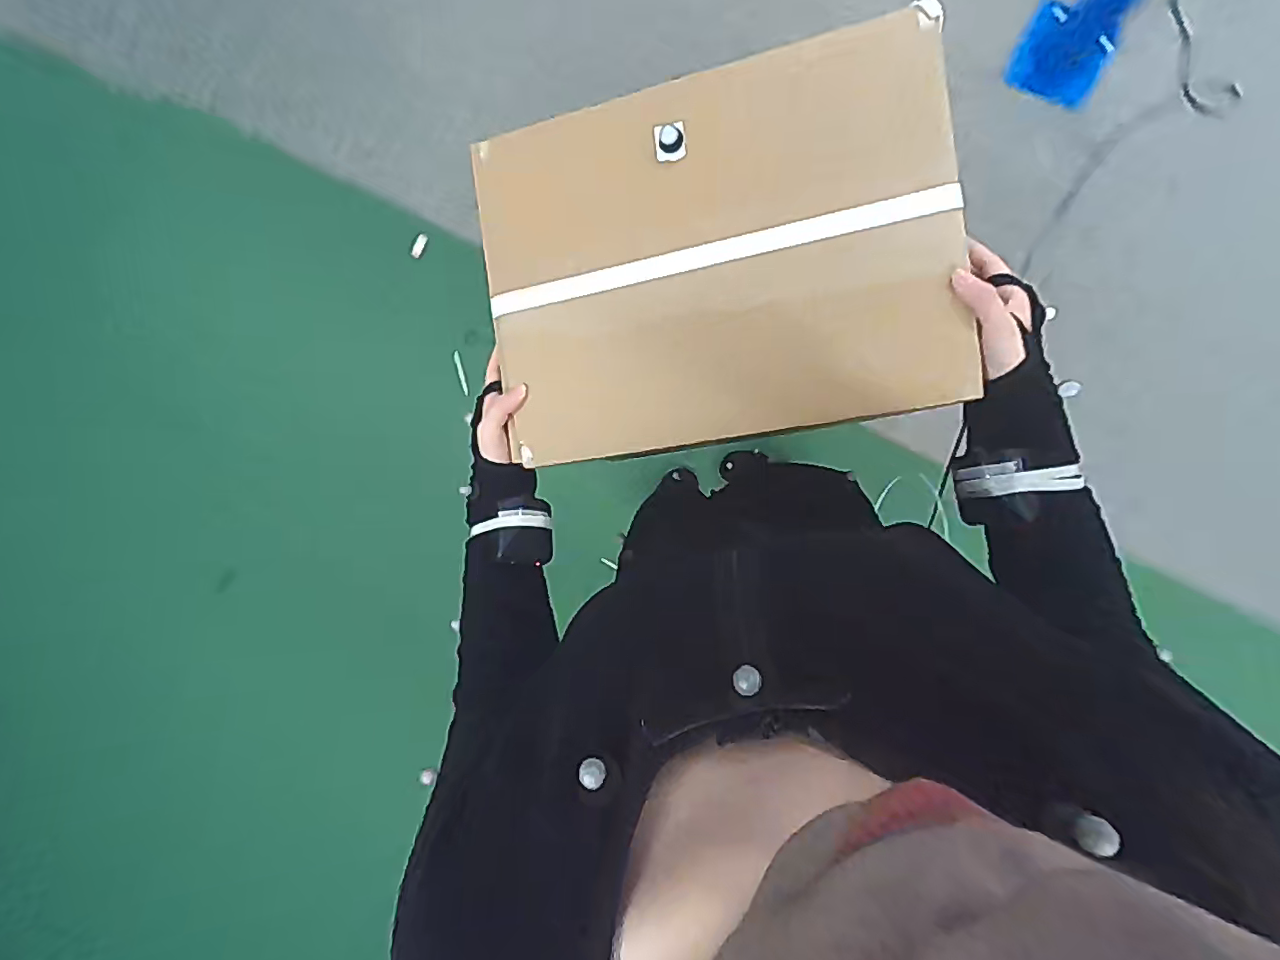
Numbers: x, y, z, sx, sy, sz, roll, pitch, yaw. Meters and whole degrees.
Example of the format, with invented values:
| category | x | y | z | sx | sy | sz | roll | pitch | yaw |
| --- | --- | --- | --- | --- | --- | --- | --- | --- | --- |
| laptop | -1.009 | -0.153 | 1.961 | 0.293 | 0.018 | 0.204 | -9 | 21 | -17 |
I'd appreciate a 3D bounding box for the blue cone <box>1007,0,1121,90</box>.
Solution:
| category | x | y | z | sx | sy | sz | roll | pitch | yaw |
| --- | --- | --- | --- | --- | --- | --- | --- | --- | --- |
| blue cone | 0.951 | -1.005 | 1.096 | 0.193 | 0.380 | 0.192 | 23 | 98 | 6 |
